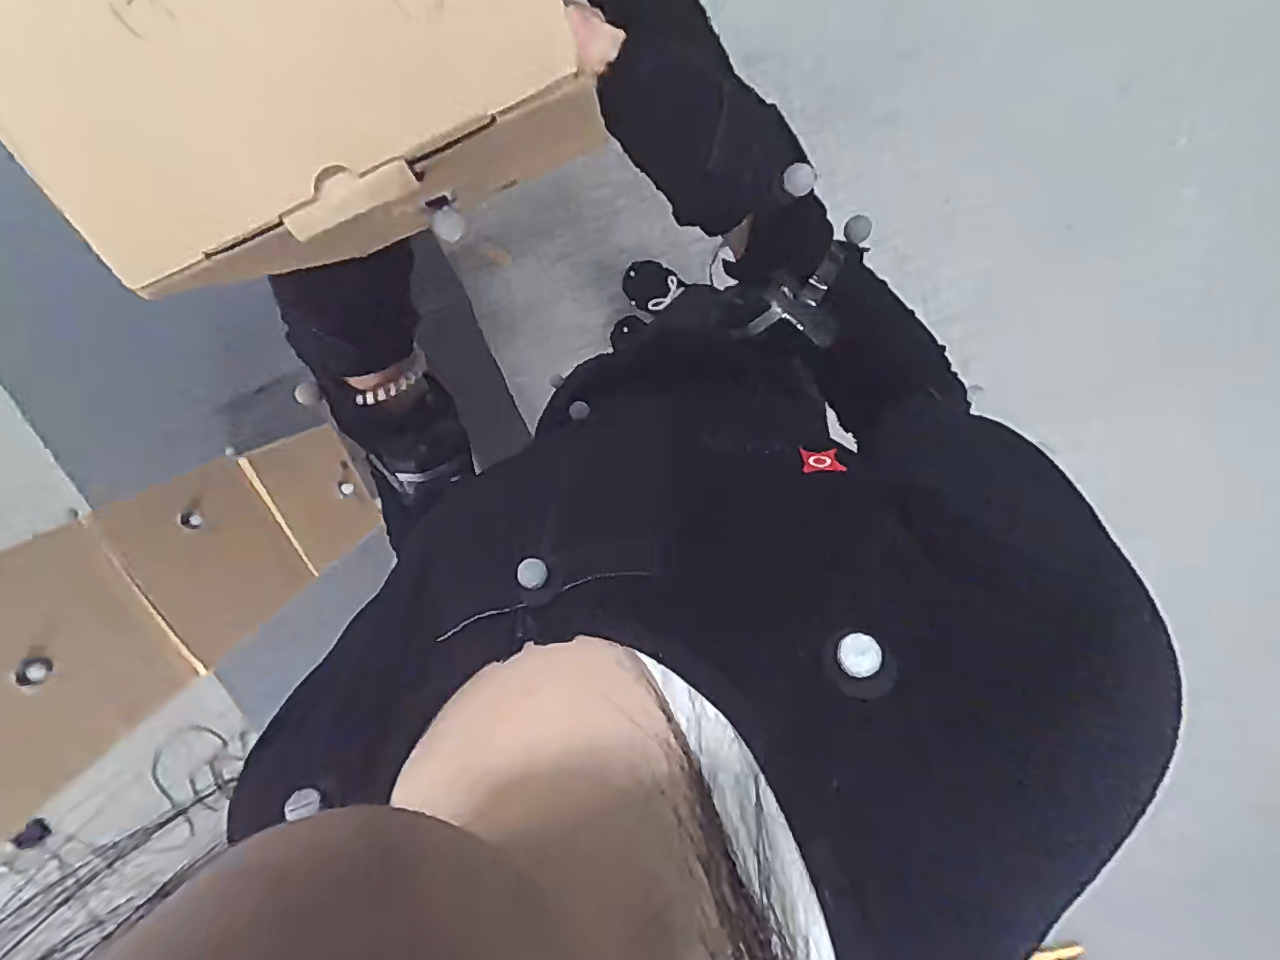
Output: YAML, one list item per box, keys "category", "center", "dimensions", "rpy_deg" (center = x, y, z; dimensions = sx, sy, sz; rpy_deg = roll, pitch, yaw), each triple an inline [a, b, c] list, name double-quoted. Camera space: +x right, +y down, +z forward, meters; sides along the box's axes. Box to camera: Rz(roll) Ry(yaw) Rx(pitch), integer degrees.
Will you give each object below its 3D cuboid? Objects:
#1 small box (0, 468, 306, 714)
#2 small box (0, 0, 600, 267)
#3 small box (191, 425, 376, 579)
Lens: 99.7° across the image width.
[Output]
- category: "small box"
  center: [-0.506, 0.100, 0.565]
  dimensions: [0.168, 0.176, 0.179]
  rpy_deg: [-20, 107, 11]
- category: "small box"
  center: [-0.120, -0.202, 0.200]
  dimensions: [0.168, 0.176, 0.179]
  rpy_deg: [-18, 116, 7]
- category: "small box"
  center: [-0.496, 0.042, 0.717]
  dimensions: [0.179, 0.176, 0.168]
  rpy_deg: [-18, 107, 9]
